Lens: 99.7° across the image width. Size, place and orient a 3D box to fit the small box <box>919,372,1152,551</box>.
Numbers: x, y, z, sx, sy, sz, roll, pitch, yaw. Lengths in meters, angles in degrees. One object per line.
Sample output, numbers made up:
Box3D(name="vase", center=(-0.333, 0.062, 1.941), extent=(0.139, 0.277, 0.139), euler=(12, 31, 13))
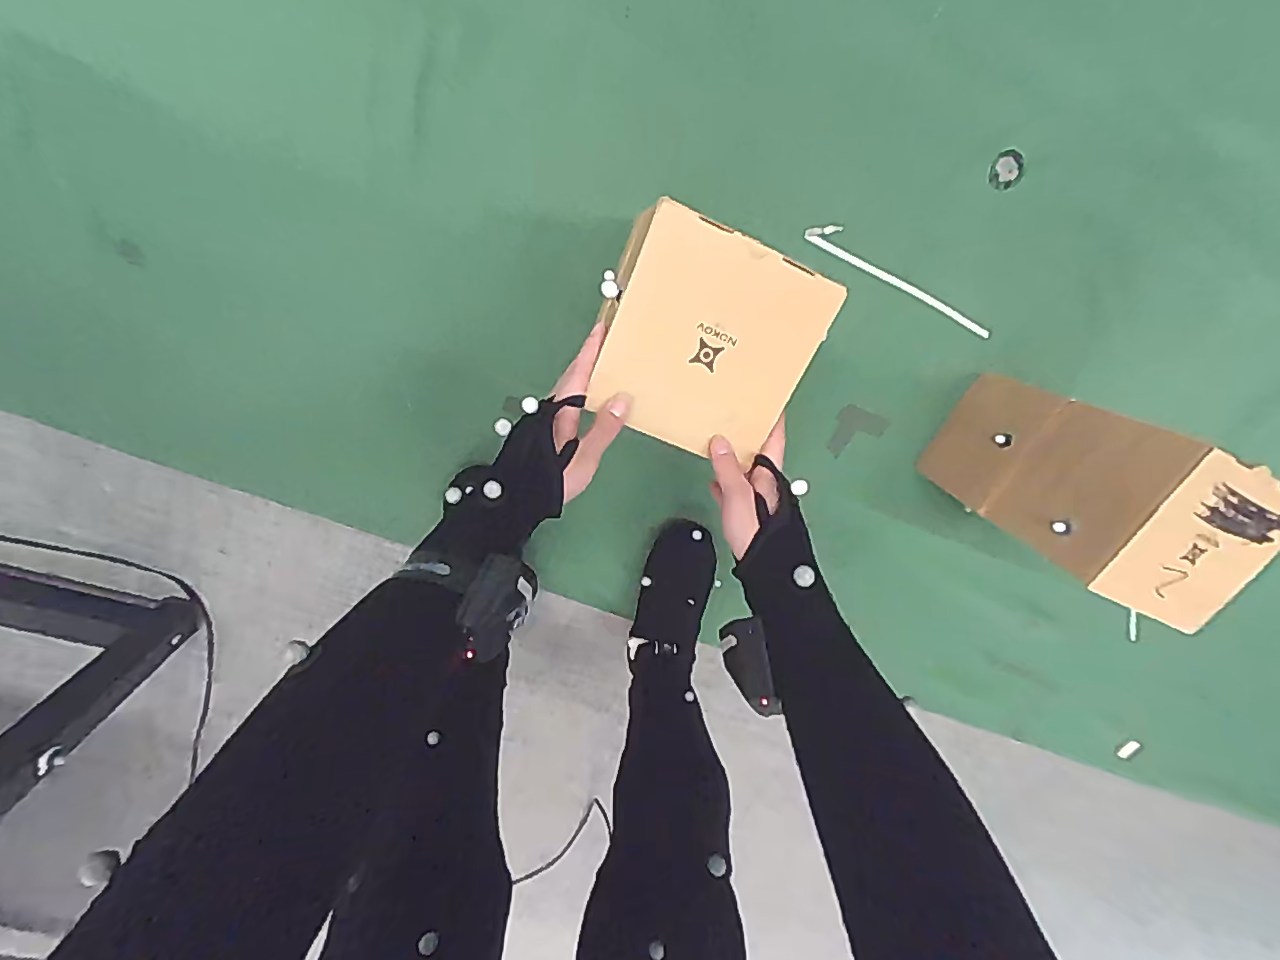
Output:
Box3D(name="small box", center=(0.546, -0.035, 0.777), extent=(0.168, 0.176, 0.179), euler=(23, 111, -14))

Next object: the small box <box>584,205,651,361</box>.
Box3D(name="small box", center=(0.039, -0.211, 0.664), extent=(0.168, 0.176, 0.179), euler=(21, 112, -12))

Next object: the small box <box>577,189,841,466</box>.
Box3D(name="small box", center=(0.052, -0.144, 0.517), extent=(0.168, 0.176, 0.179), euler=(21, 109, -11))
